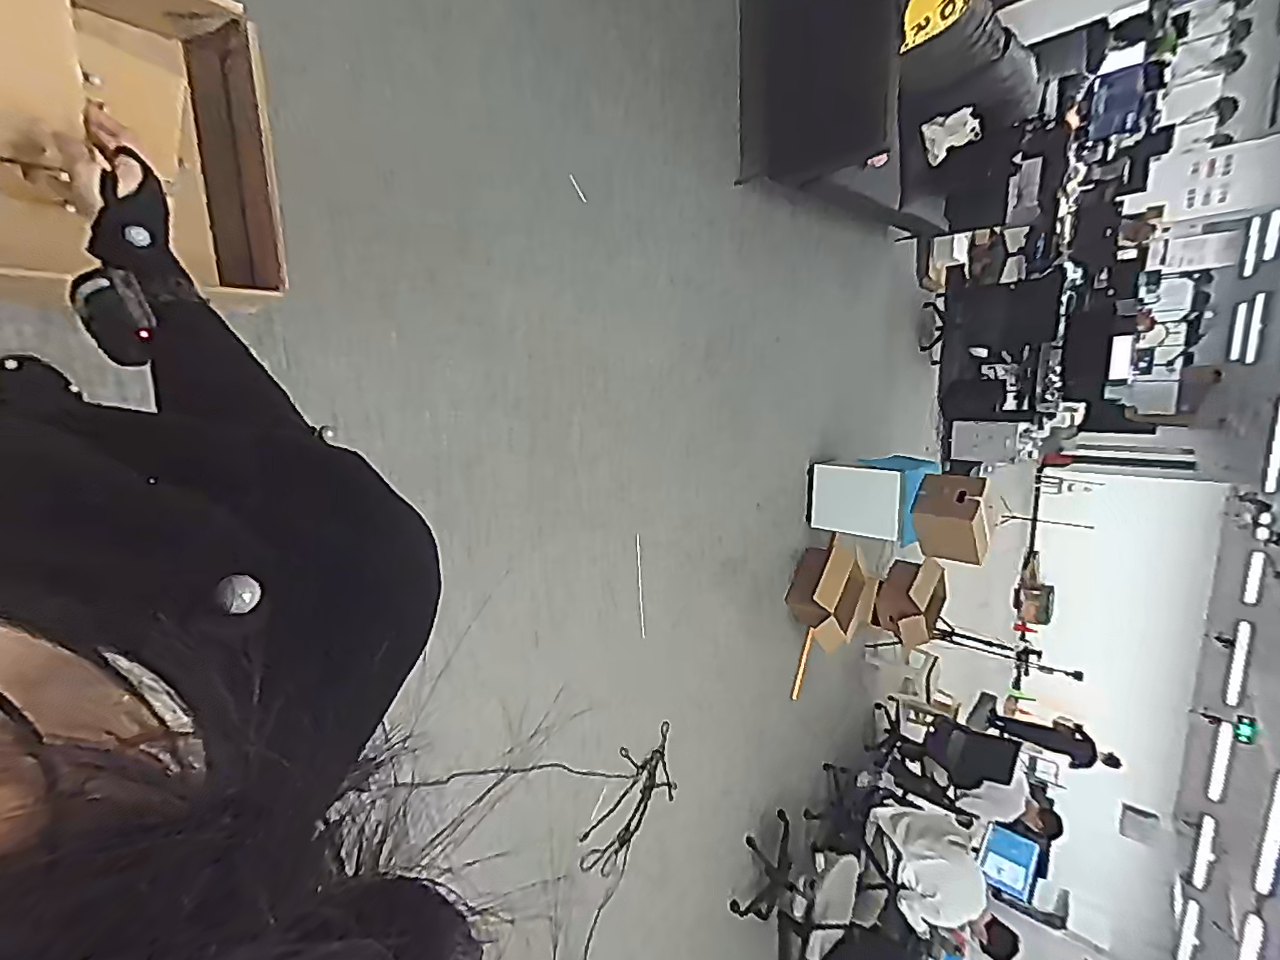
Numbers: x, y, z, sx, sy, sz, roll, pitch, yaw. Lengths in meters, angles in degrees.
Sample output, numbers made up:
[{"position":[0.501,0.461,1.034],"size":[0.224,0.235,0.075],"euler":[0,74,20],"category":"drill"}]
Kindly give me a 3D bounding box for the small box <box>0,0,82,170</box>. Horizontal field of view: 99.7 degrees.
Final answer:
[{"position":[-0.588,-0.379,0.446],"size":[0.168,0.176,0.179],"euler":[-9,121,-44],"category":"small box"}]
